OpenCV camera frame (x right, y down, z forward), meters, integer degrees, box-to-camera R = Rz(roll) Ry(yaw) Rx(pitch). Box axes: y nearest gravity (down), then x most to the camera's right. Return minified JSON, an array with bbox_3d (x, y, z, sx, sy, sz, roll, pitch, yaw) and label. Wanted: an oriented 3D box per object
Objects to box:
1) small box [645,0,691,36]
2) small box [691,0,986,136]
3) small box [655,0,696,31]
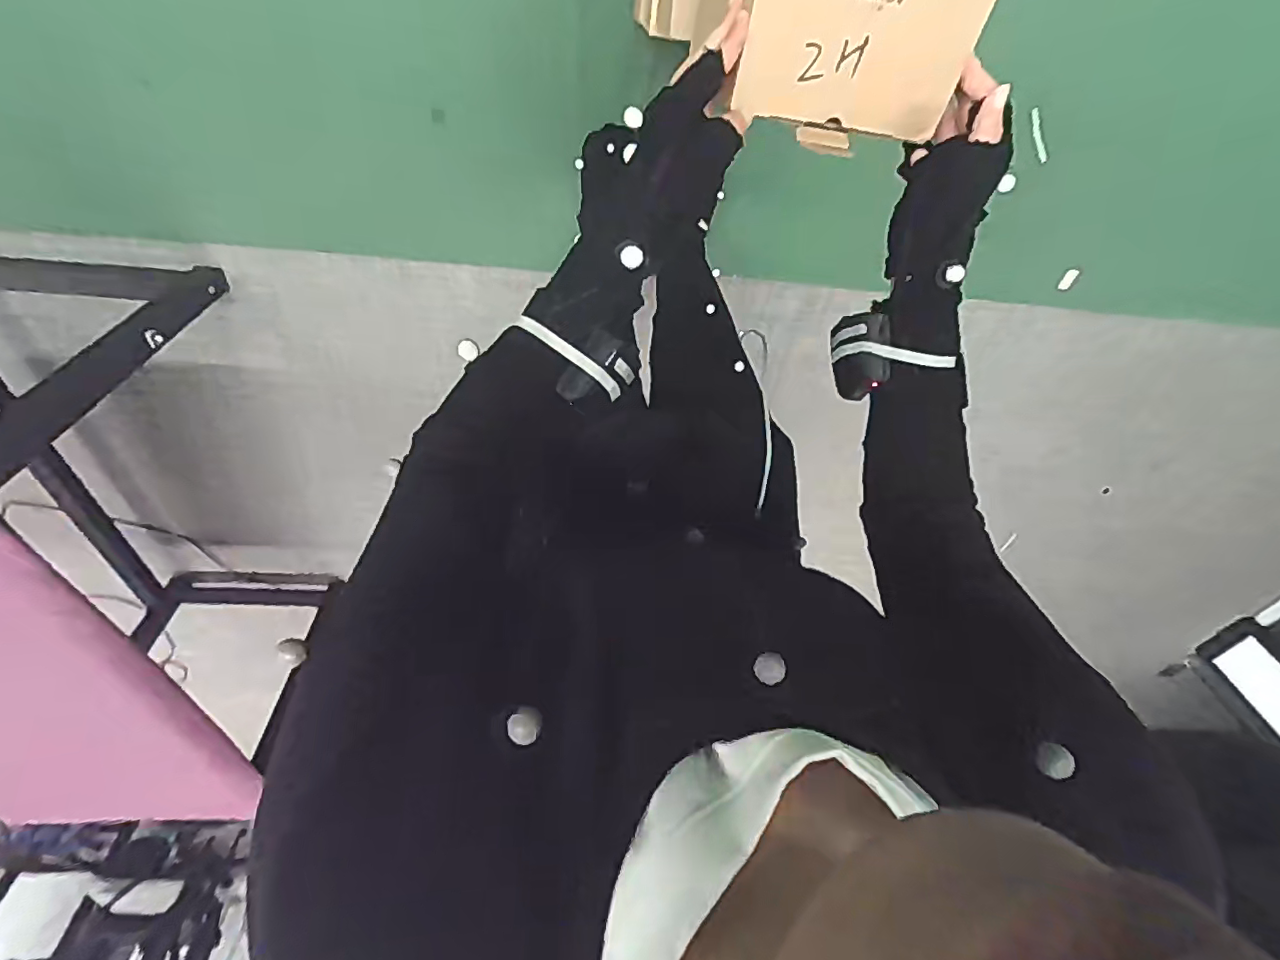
[{"bbox_3d":[0.103,-0.684,0.706,0.179,0.176,0.168,2,133,-6],"label":"small box"},{"bbox_3d":[0.143,-0.385,0.398,0.168,0.176,0.179,2,136,-10],"label":"small box"},{"bbox_3d":[0.119,-0.579,0.577,0.179,0.176,0.168,3,131,-8],"label":"small box"}]
